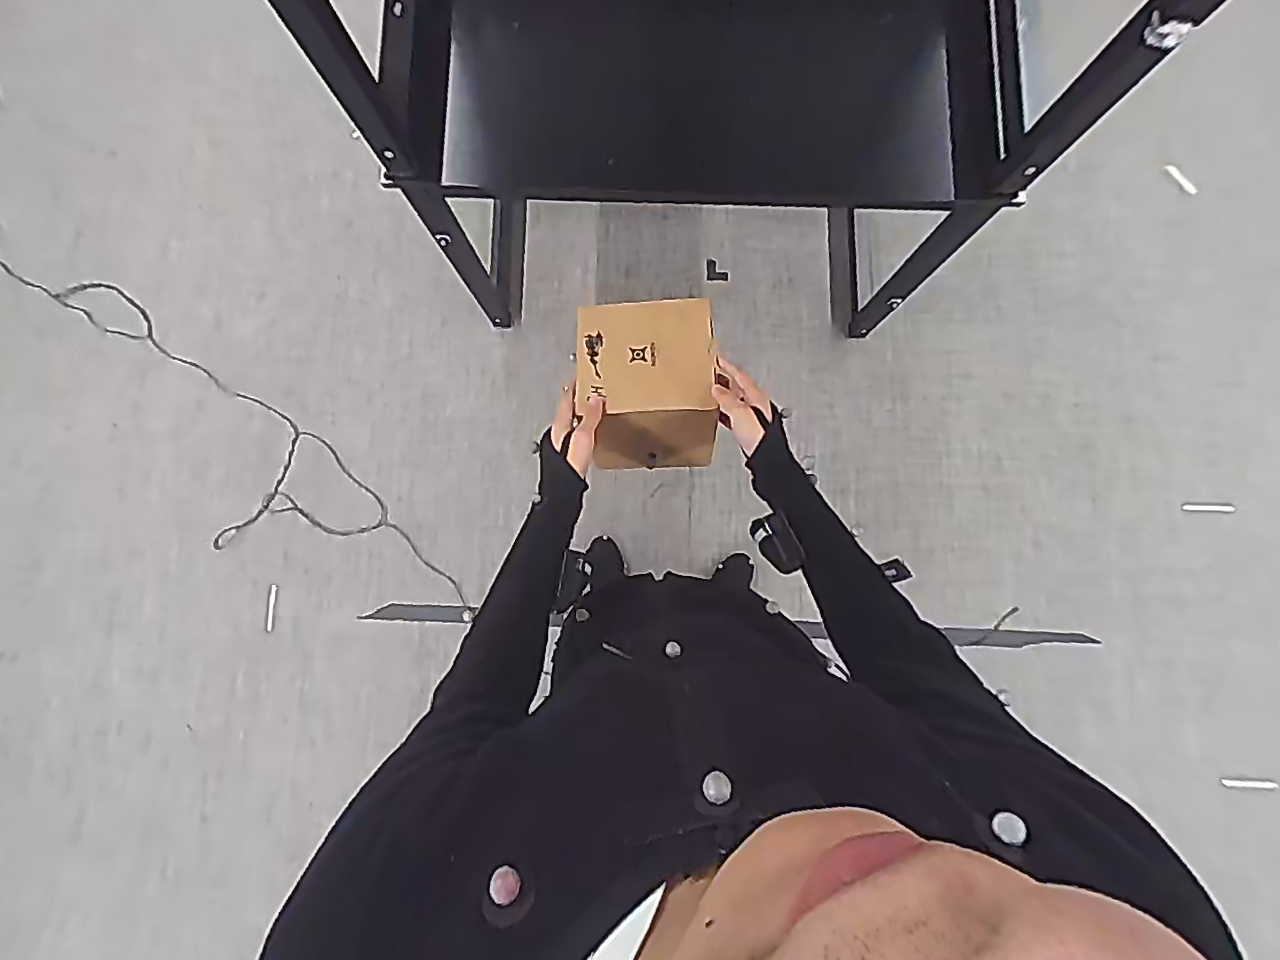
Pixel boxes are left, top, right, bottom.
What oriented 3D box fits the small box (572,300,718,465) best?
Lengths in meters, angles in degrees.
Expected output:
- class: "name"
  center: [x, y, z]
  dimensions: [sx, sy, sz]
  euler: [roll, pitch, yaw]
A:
- class: "small box"
  center: [0.009, -0.127, 0.747]
  dimensions: [0.179, 0.176, 0.168]
  euler: [-1, 67, 2]
